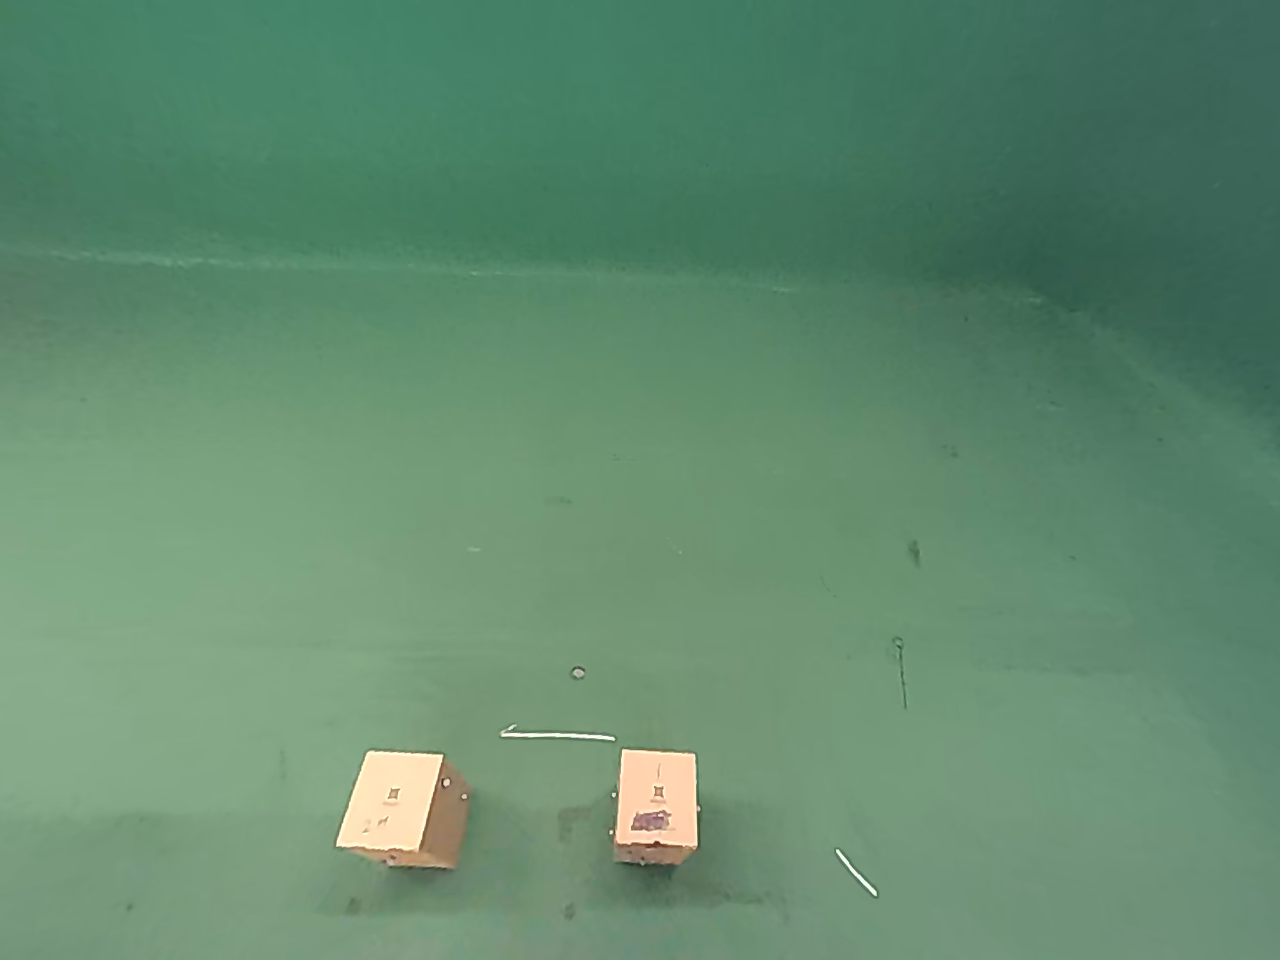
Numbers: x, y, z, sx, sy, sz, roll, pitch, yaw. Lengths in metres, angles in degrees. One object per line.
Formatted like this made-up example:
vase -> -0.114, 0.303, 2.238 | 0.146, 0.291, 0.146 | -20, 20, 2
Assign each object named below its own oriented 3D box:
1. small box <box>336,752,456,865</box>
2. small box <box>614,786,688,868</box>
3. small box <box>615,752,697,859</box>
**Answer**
small box -> -0.507, 0.706, 1.159 | 0.168, 0.176, 0.179 | 3, 49, 0
small box -> 0.025, 0.822, 1.310 | 0.168, 0.176, 0.179 | 3, 50, -1
small box -> 0.033, 0.716, 1.185 | 0.168, 0.176, 0.179 | 5, 50, -1
